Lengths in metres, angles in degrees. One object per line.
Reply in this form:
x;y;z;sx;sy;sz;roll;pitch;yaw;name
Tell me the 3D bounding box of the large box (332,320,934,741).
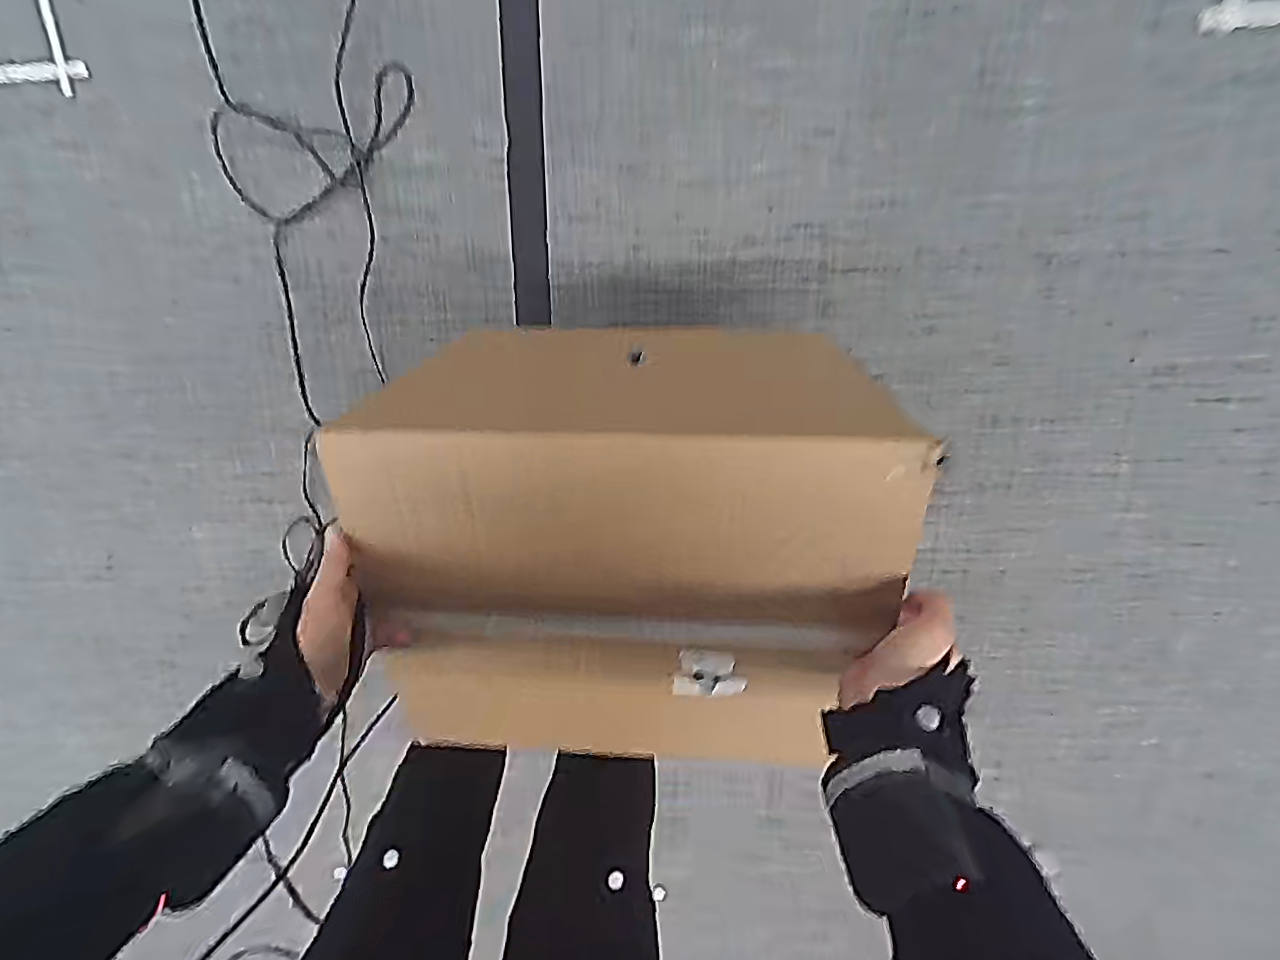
0.000;0.023;0.550;0.408;0.320;0.320;1;119;4;large box
